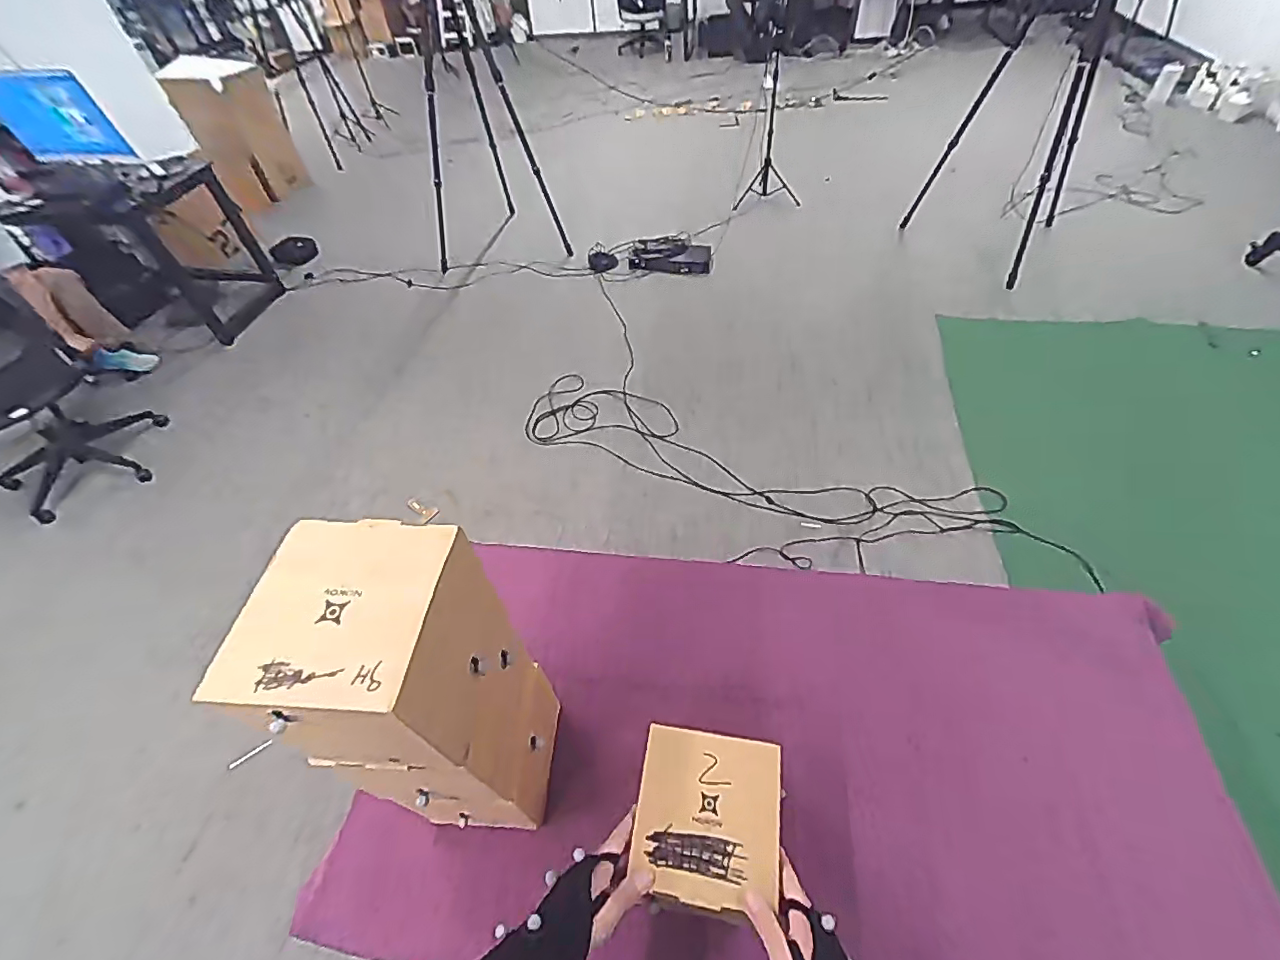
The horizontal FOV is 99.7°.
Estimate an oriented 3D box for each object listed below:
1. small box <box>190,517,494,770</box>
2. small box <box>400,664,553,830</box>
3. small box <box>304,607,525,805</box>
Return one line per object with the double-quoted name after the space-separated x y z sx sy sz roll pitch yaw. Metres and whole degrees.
-0.254 0.156 0.521 0.168 0.176 0.179 1 48 6 "small box"
-0.226 0.374 0.765 0.168 0.176 0.179 0 49 5 "small box"
-0.244 0.266 0.642 0.168 0.176 0.179 -1 49 5 "small box"
